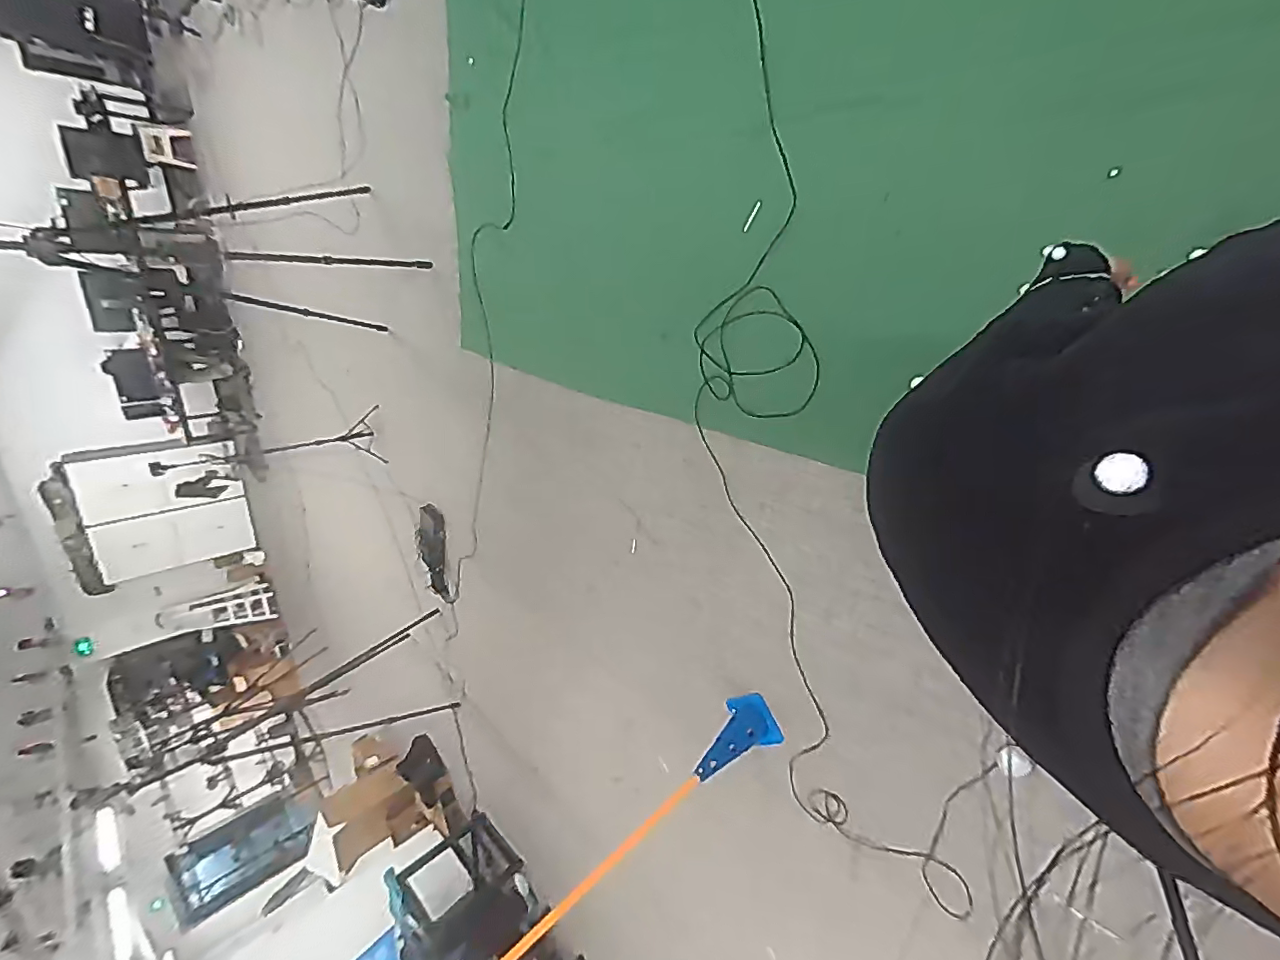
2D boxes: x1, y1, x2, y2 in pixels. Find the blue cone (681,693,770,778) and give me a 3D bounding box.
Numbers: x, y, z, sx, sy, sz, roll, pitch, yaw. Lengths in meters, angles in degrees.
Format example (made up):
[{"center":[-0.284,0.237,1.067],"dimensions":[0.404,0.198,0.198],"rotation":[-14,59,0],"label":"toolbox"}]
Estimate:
[{"center":[0.287,0.962,1.971],"dimensions":[0.193,0.380,0.192],"rotation":[-39,77,46],"label":"blue cone"}]
